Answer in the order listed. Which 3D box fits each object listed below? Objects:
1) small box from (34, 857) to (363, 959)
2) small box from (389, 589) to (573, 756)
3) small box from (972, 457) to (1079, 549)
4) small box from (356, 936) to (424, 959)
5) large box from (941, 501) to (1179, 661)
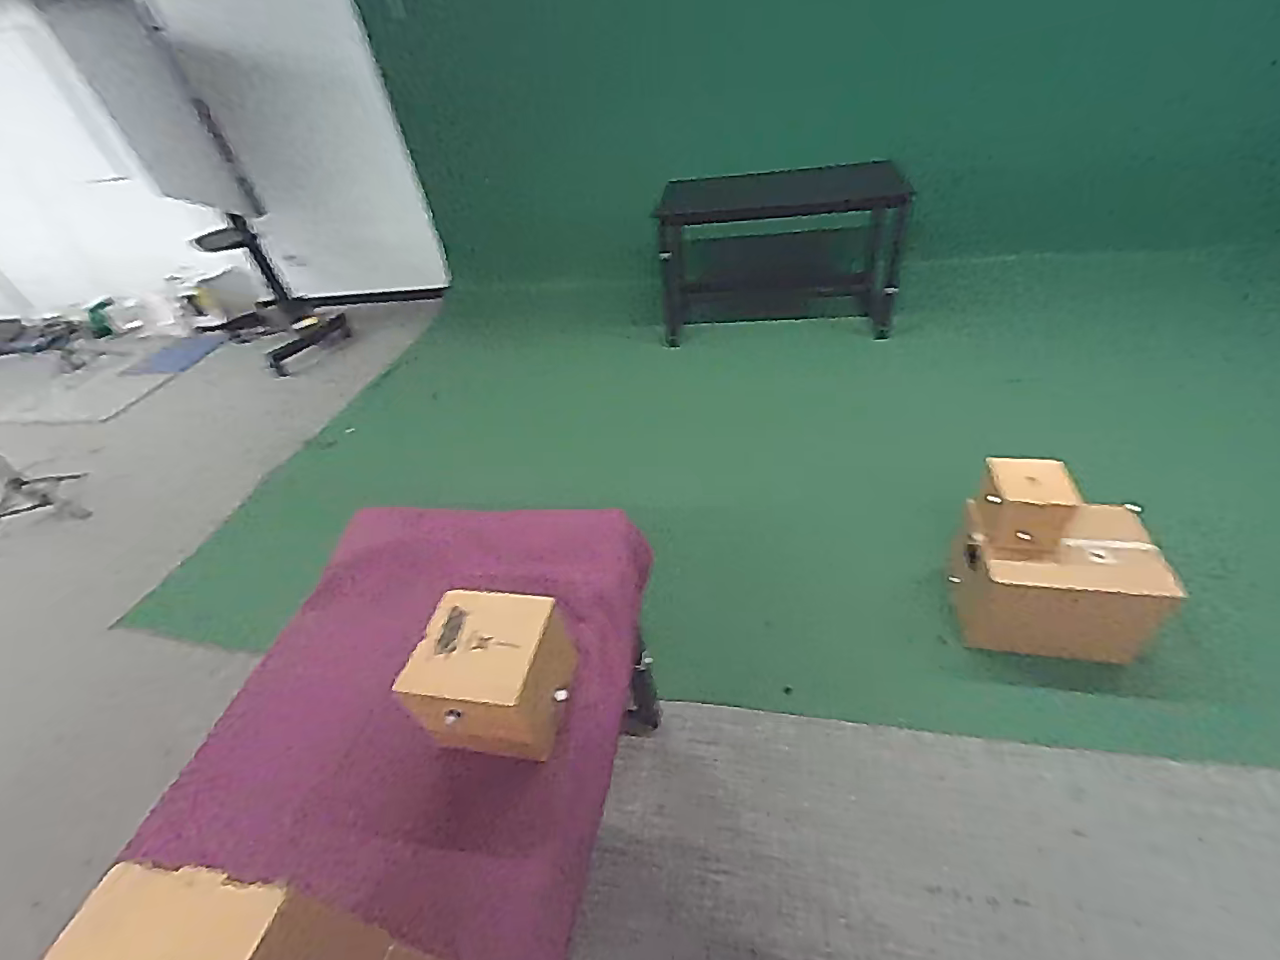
[{"bbox_3d":[-0.340,0.416,0.399,0.168,0.176,0.179,-2,40,13],"label":"small box"},{"bbox_3d":[-0.216,0.279,0.787,0.179,0.176,0.168,1,42,13],"label":"small box"},{"bbox_3d":[1.007,0.059,1.433,0.168,0.176,0.179,3,42,14],"label":"small box"},{"bbox_3d":[-0.316,0.538,0.506,0.179,0.176,0.168,-1,42,13],"label":"small box"},{"bbox_3d":[1.132,0.279,1.527,0.408,0.320,0.320,3,43,14],"label":"large box"}]
